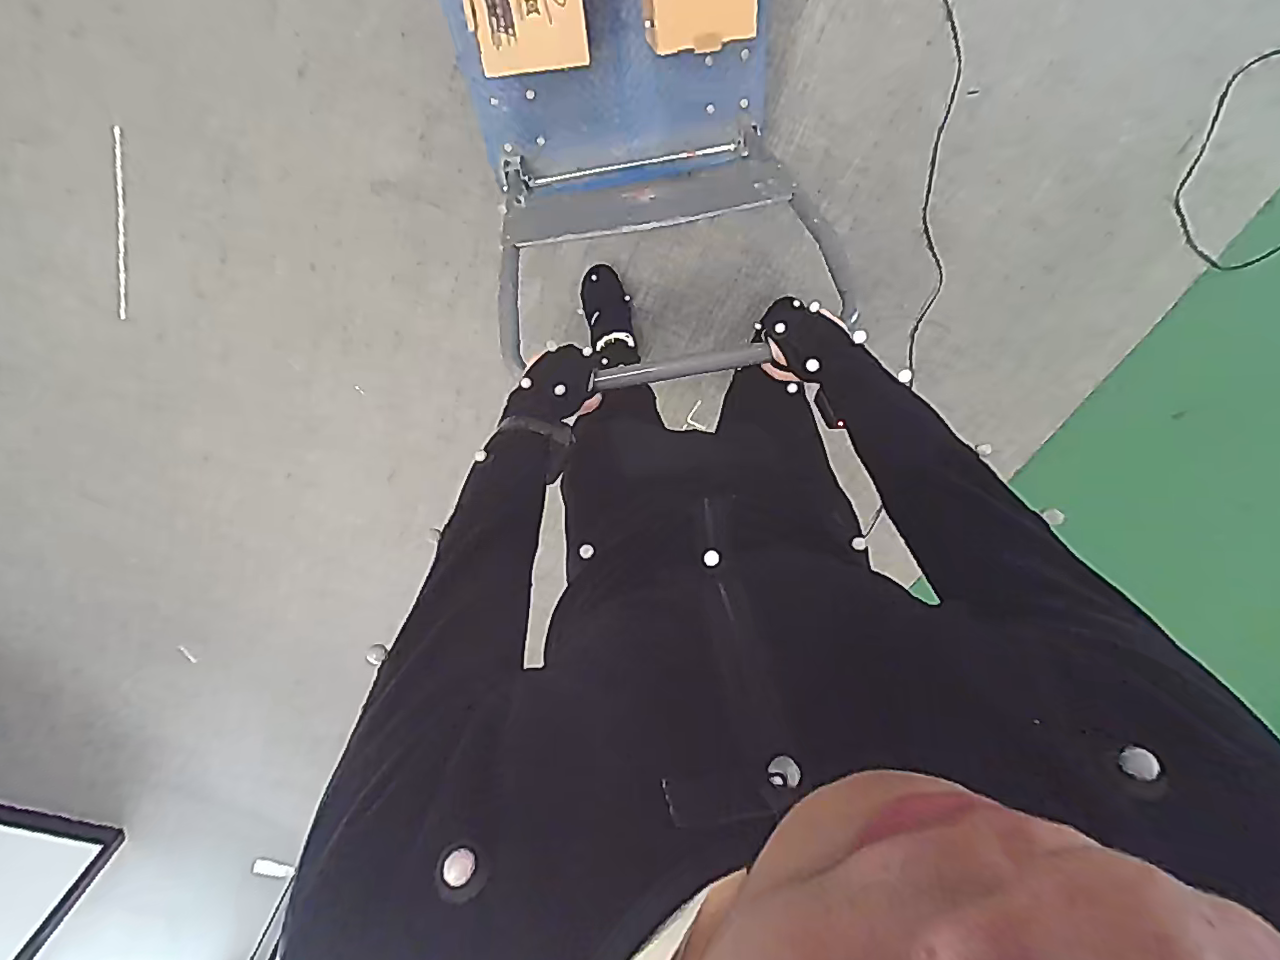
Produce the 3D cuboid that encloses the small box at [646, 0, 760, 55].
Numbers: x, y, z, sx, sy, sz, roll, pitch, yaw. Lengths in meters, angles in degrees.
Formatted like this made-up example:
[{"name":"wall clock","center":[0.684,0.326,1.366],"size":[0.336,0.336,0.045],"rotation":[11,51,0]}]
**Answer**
[{"name":"small box","center":[0.095,-0.827,0.880],"size":[0.168,0.176,0.179],"rotation":[-10,137,2]}]
